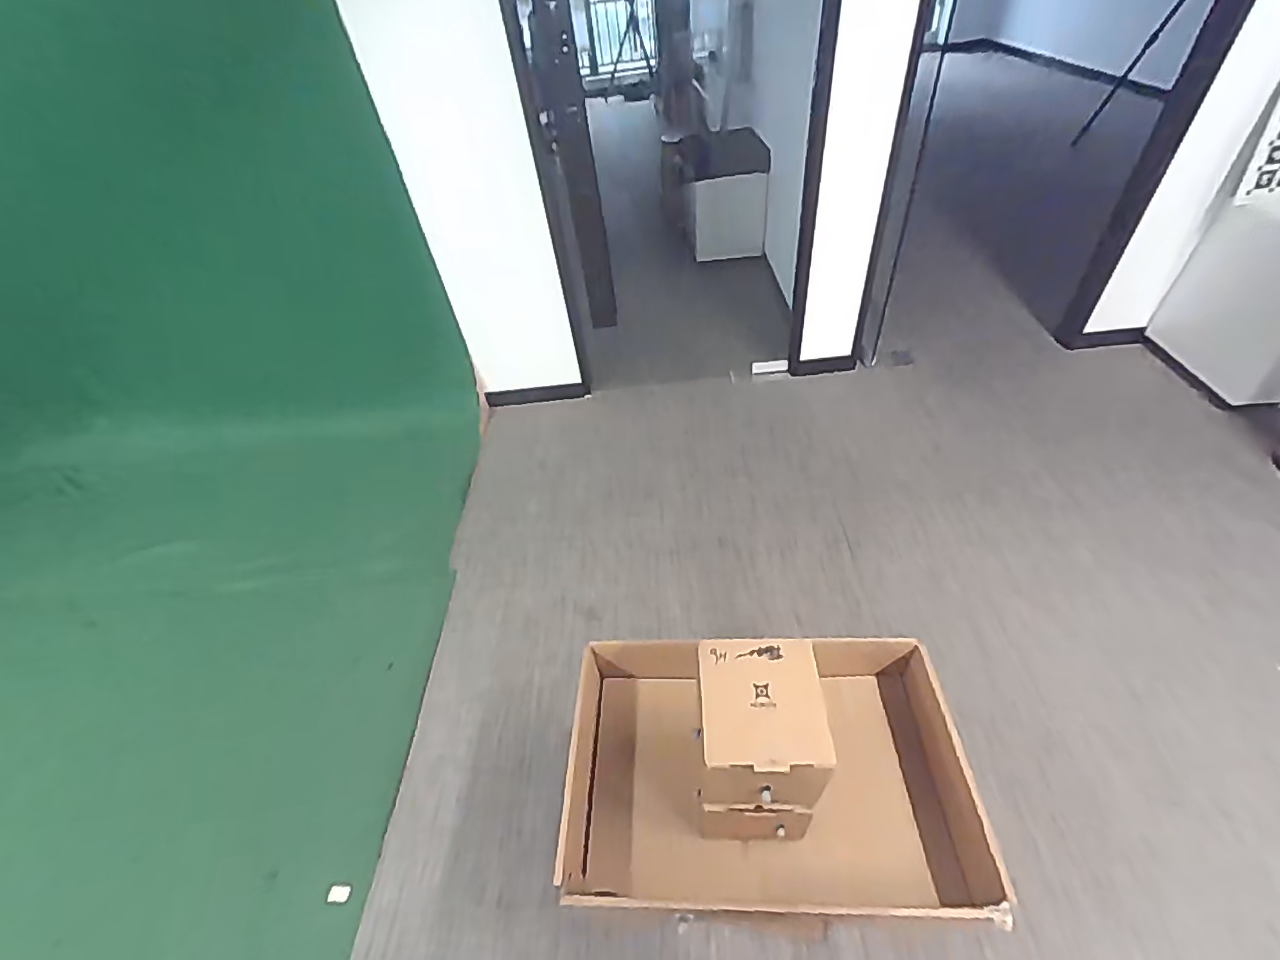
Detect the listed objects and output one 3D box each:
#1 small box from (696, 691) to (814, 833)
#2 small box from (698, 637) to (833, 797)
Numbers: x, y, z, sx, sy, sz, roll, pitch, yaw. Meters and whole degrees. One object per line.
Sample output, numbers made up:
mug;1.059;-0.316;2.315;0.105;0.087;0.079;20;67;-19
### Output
small box;0.182;0.471;0.903;0.168;0.176;0.179;-2;43;4
small box;0.171;0.349;0.793;0.168;0.176;0.179;-2;46;4
